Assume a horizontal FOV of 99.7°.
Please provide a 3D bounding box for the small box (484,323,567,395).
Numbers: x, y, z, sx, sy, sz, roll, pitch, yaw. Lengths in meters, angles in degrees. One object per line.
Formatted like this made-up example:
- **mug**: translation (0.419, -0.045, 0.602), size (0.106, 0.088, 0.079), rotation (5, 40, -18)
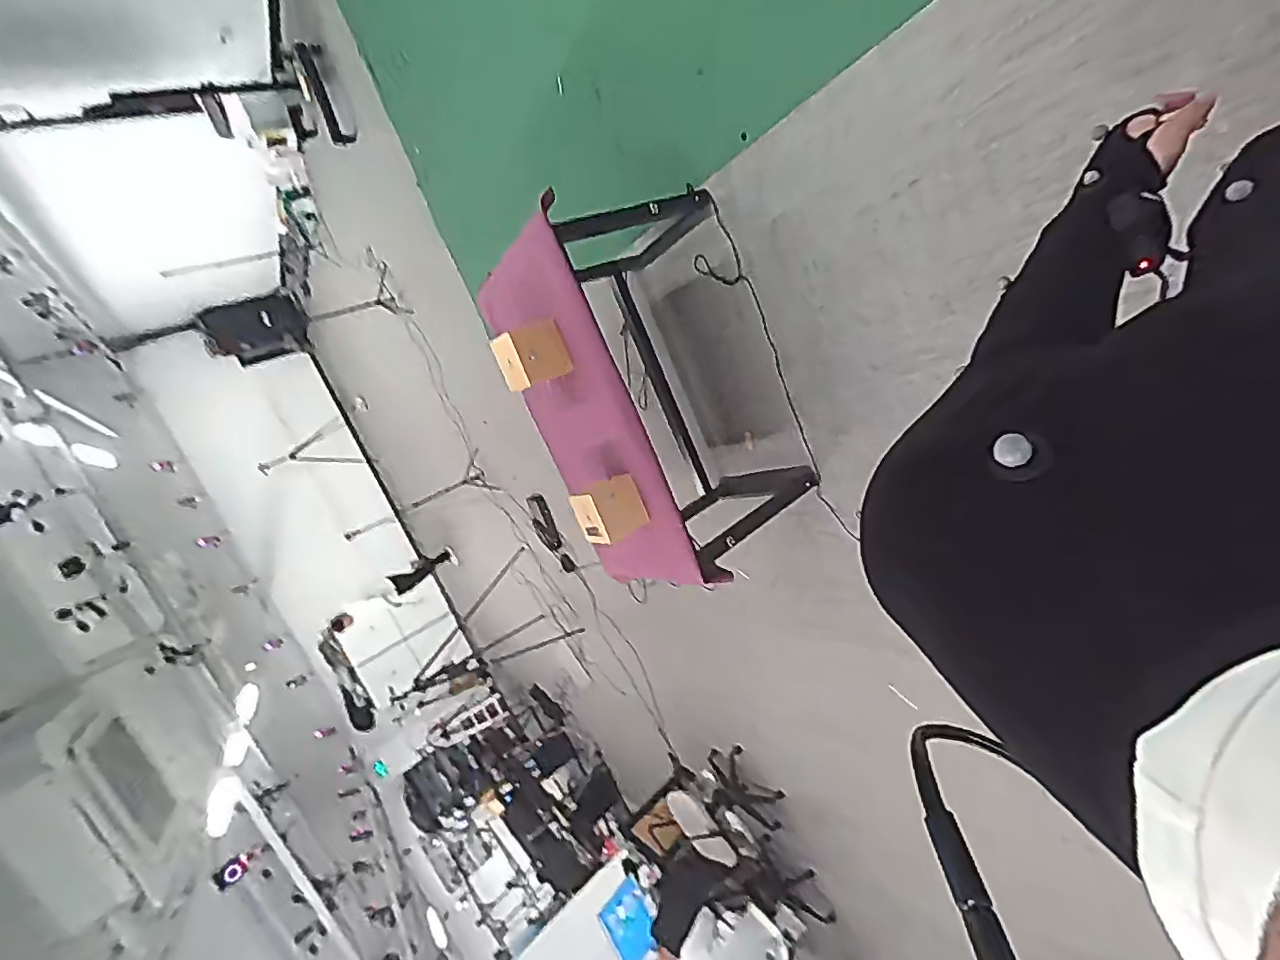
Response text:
- **small box**: translation (-0.365, -0.393, 1.736), size (0.168, 0.176, 0.179), rotation (-1, 115, 54)
